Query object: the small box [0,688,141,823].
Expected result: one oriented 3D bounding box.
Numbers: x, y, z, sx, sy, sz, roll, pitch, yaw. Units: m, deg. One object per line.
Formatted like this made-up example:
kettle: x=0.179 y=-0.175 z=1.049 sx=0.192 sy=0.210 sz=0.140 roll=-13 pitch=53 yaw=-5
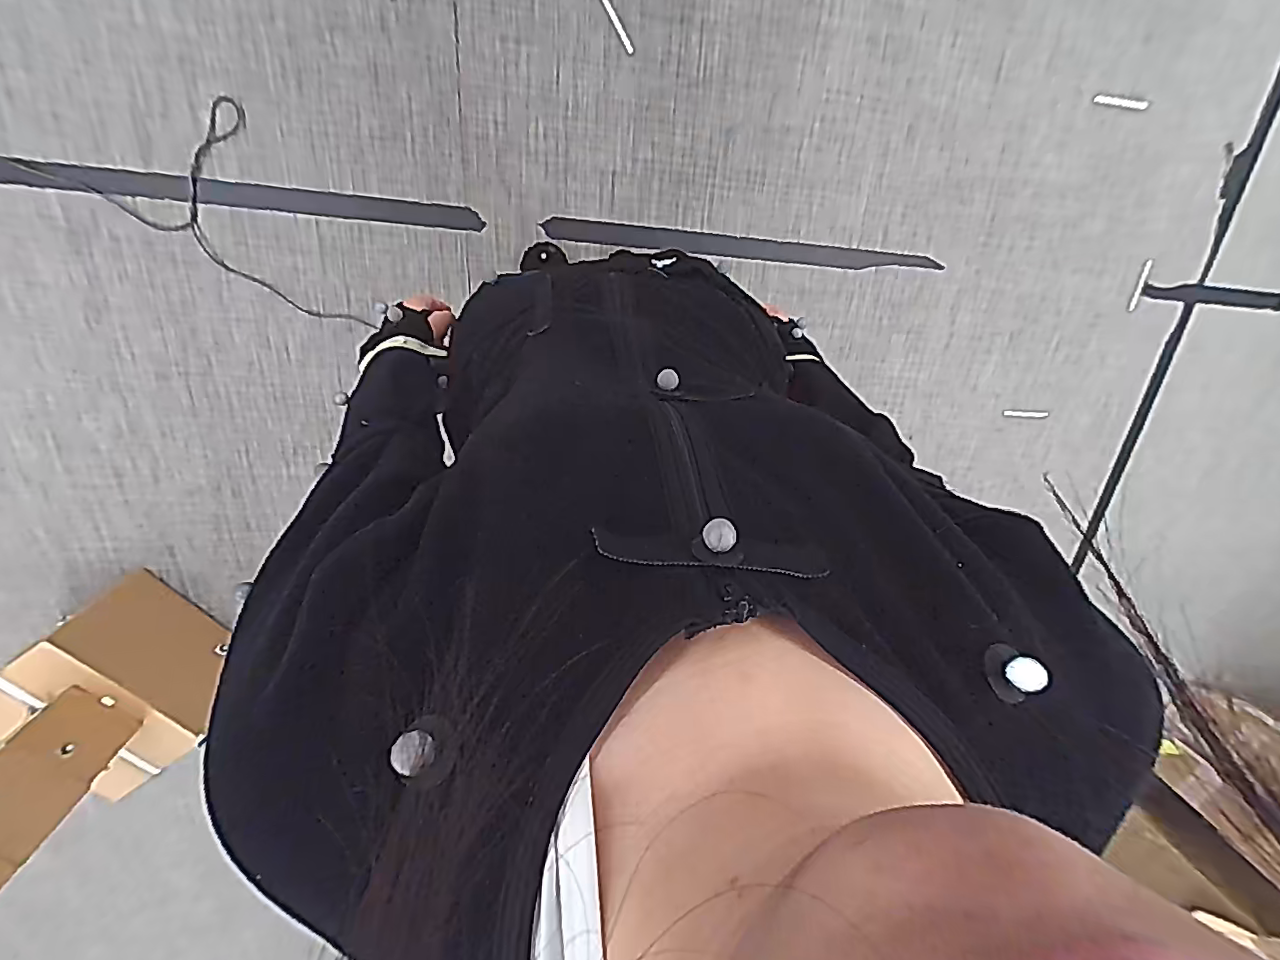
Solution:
small box: x=-1.275 y=0.597 z=1.187 sx=0.168 sy=0.176 sz=0.179 roll=-37 pitch=112 yaw=6
